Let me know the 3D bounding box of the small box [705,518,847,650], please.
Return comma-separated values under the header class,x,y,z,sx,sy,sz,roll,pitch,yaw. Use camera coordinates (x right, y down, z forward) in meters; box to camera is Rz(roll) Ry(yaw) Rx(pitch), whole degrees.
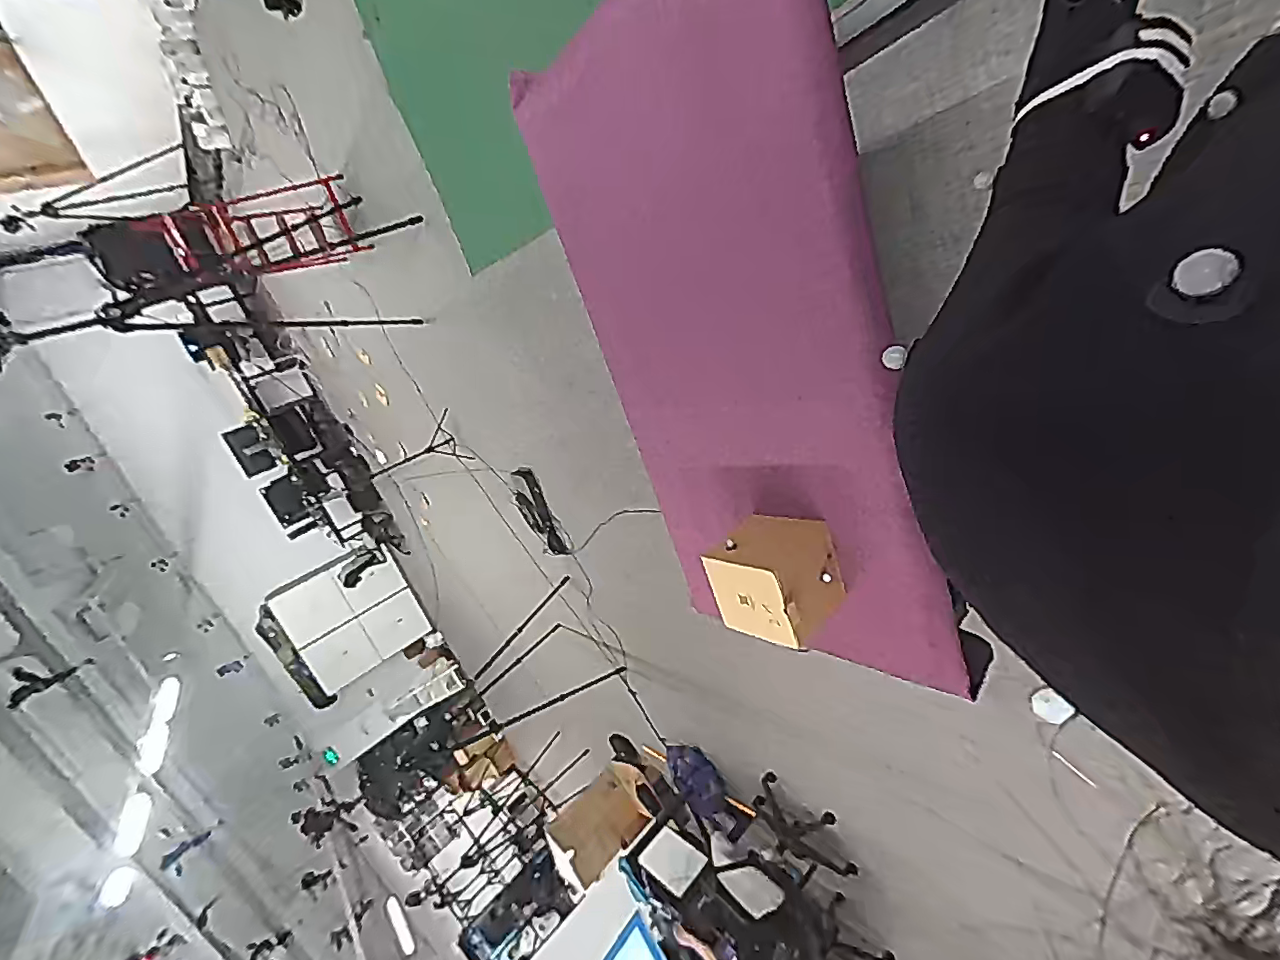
class,x,y,z,sx,sy,sz,roll,pitch,yaw
small box,0.259,0.185,1.023,0.179,0.176,0.168,3,119,51
